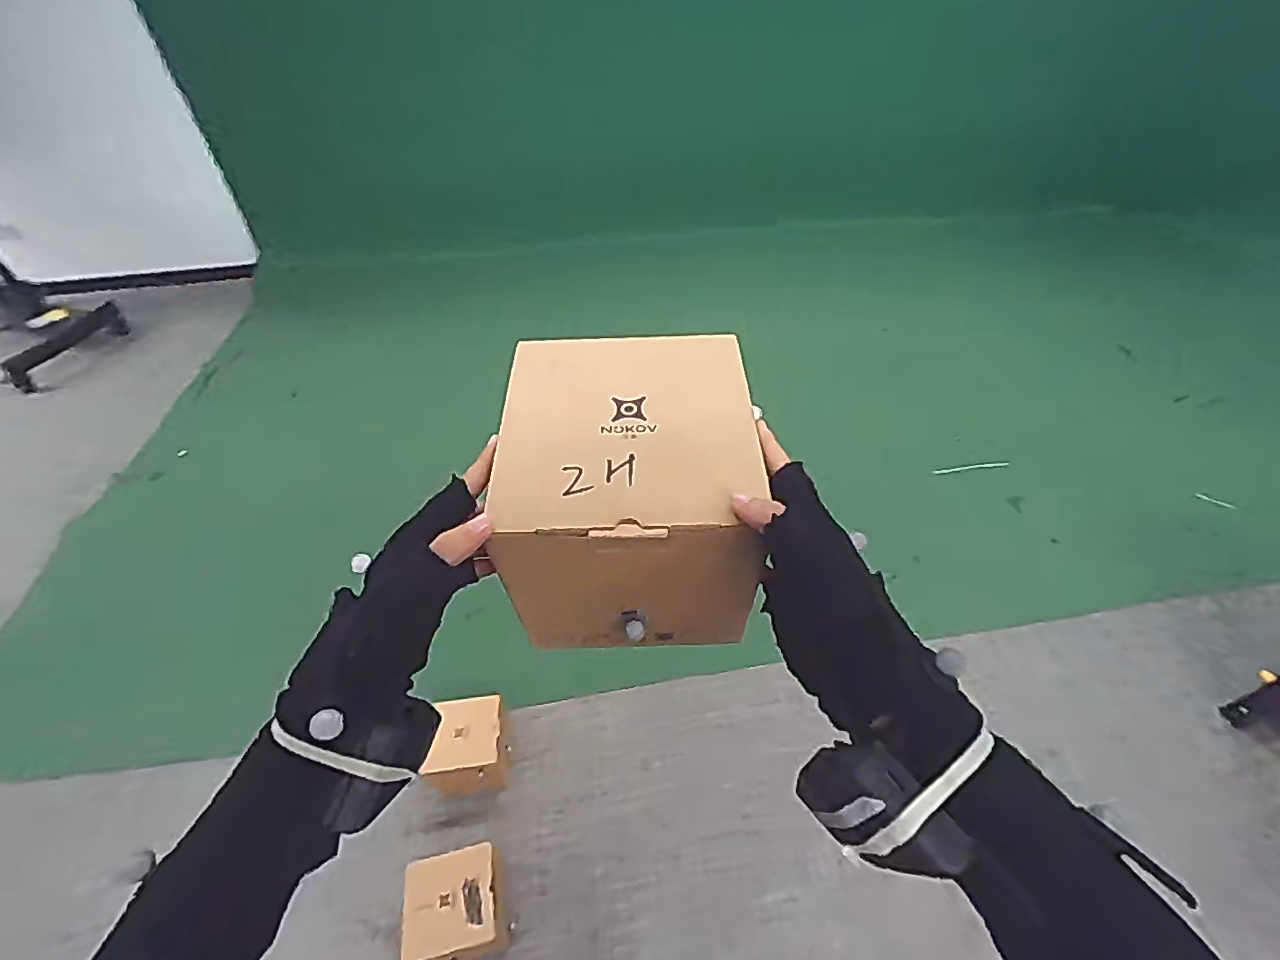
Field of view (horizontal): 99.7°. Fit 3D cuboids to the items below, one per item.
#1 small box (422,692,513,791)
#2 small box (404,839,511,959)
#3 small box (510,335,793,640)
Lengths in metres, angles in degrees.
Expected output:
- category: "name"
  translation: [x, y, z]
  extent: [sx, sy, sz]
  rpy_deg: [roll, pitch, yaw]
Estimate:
- category: "small box"
  translation: [-0.422, 0.656, 1.351]
  extent: [0.179, 0.176, 0.168]
  rpy_deg: [-6, 45, -6]
- category: "small box"
  translation: [-0.369, 0.878, 1.122]
  extent: [0.179, 0.176, 0.168]
  rpy_deg: [-11, 45, -9]
- category: "small box"
  translation: [0.008, 0.007, 0.422]
  extent: [0.168, 0.176, 0.179]
  rpy_deg: [-1, 51, 1]
